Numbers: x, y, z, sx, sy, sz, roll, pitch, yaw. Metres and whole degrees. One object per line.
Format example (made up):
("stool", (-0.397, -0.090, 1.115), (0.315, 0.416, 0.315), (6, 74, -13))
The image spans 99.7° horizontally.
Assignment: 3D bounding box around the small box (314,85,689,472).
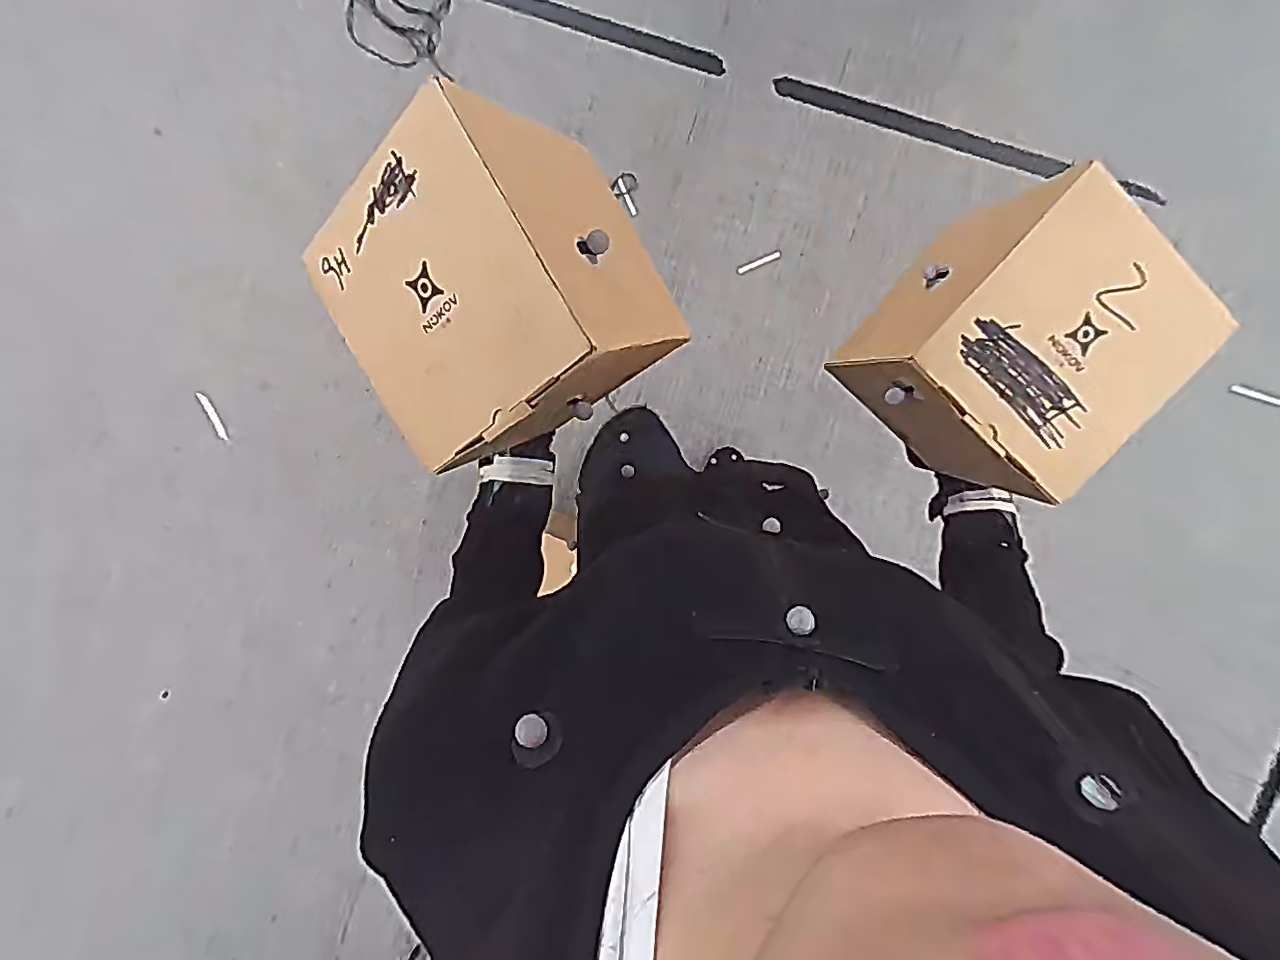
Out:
("small box", (-0.088, -0.135, 0.407), (0.168, 0.176, 0.179), (-30, 94, 29))
